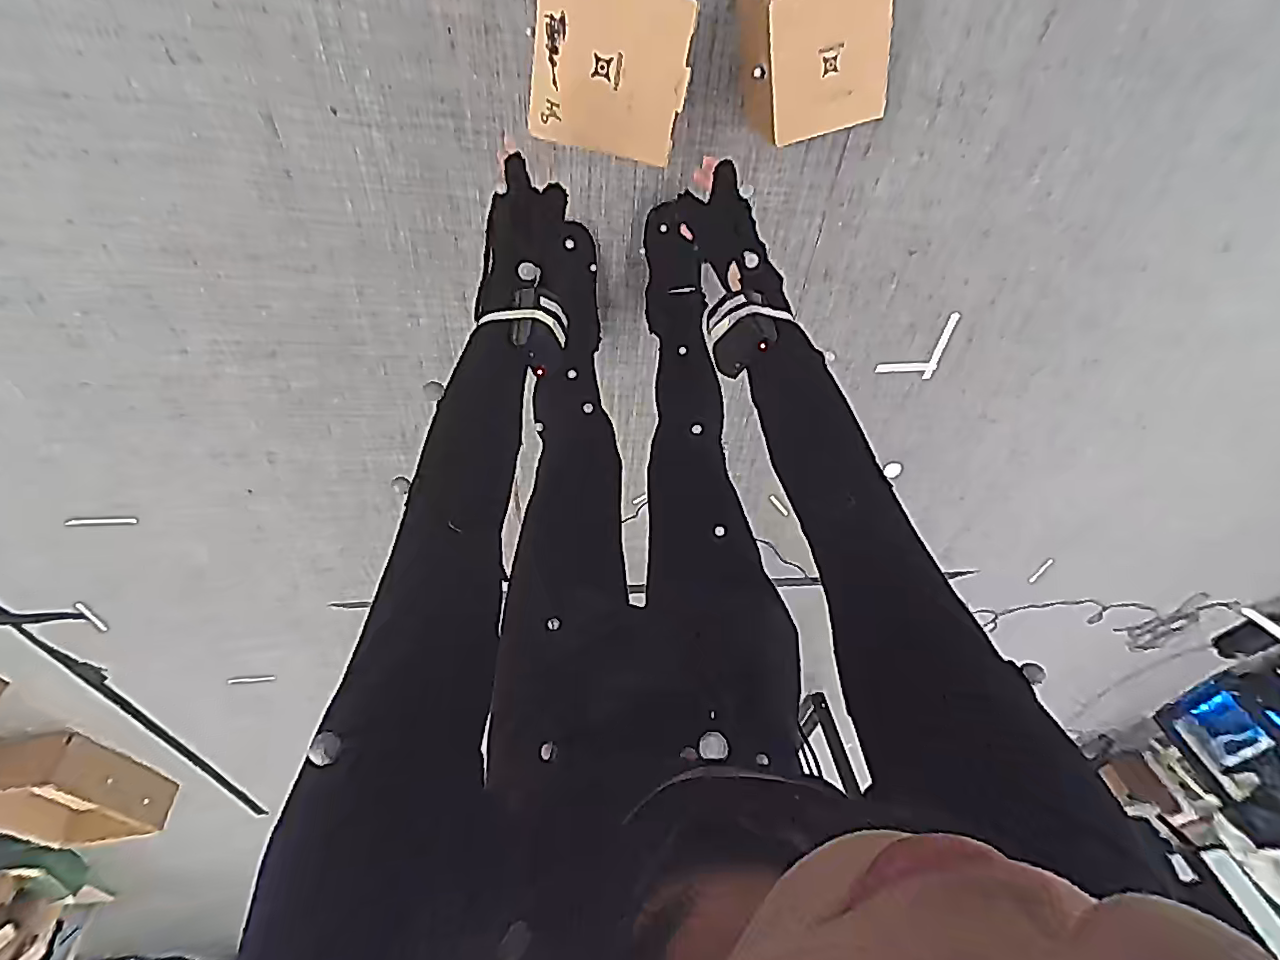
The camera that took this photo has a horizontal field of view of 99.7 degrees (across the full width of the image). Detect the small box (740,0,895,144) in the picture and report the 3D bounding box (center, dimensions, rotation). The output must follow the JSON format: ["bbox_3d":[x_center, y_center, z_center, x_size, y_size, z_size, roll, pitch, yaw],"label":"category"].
[{"bbox_3d":[0.253,-0.631,0.796,0.168,0.176,0.179,-15,134,5],"label":"small box"}]
